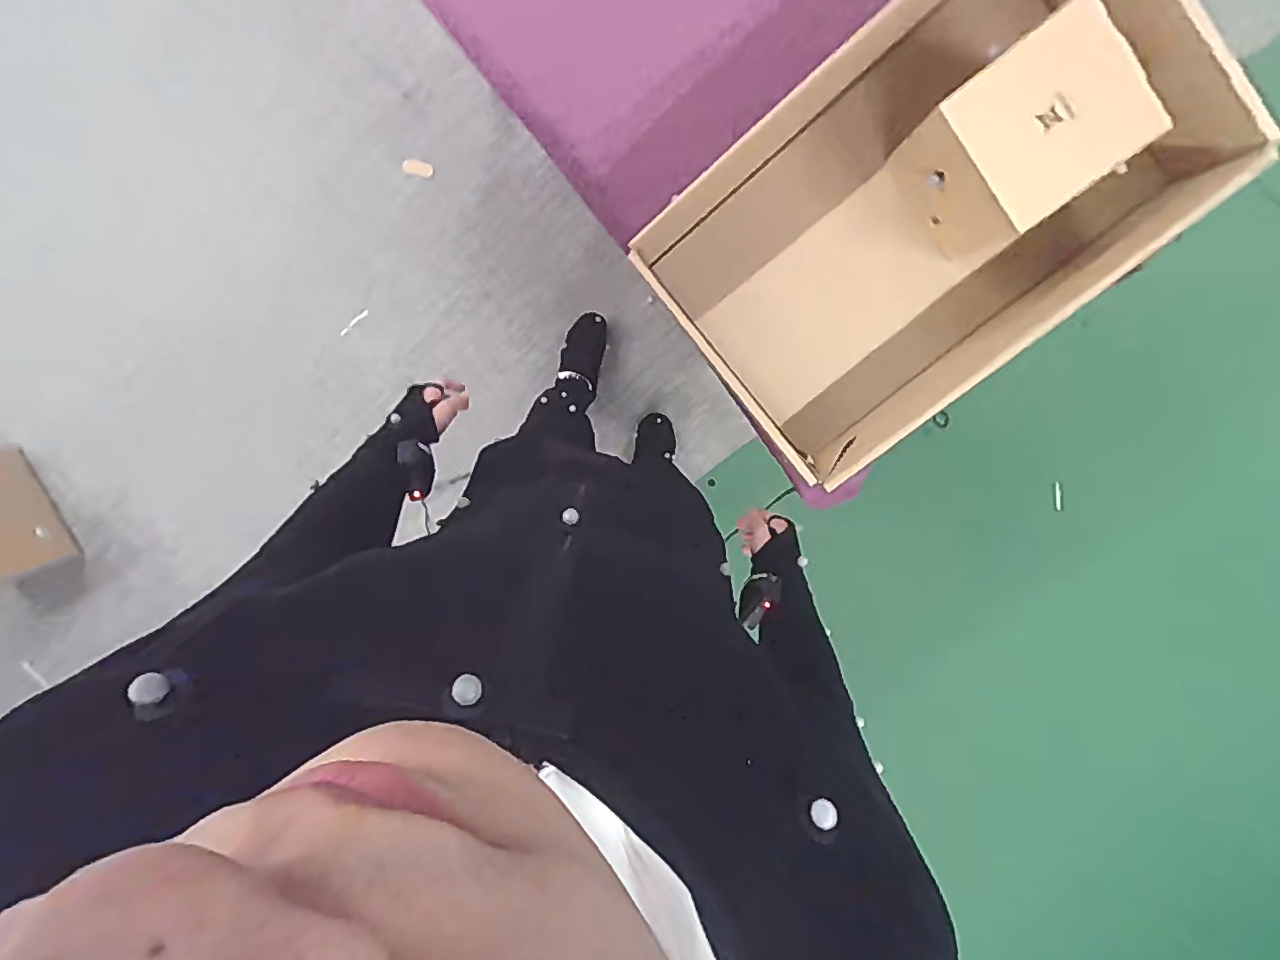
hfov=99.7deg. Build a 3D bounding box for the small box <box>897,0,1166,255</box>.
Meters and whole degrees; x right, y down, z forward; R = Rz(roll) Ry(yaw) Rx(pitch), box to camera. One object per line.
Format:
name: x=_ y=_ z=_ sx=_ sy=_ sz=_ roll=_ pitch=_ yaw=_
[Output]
small box: x=0.439 y=-0.400 z=0.647 sx=0.179 sy=0.176 sz=0.168 roll=-36 pitch=96 yaw=10
